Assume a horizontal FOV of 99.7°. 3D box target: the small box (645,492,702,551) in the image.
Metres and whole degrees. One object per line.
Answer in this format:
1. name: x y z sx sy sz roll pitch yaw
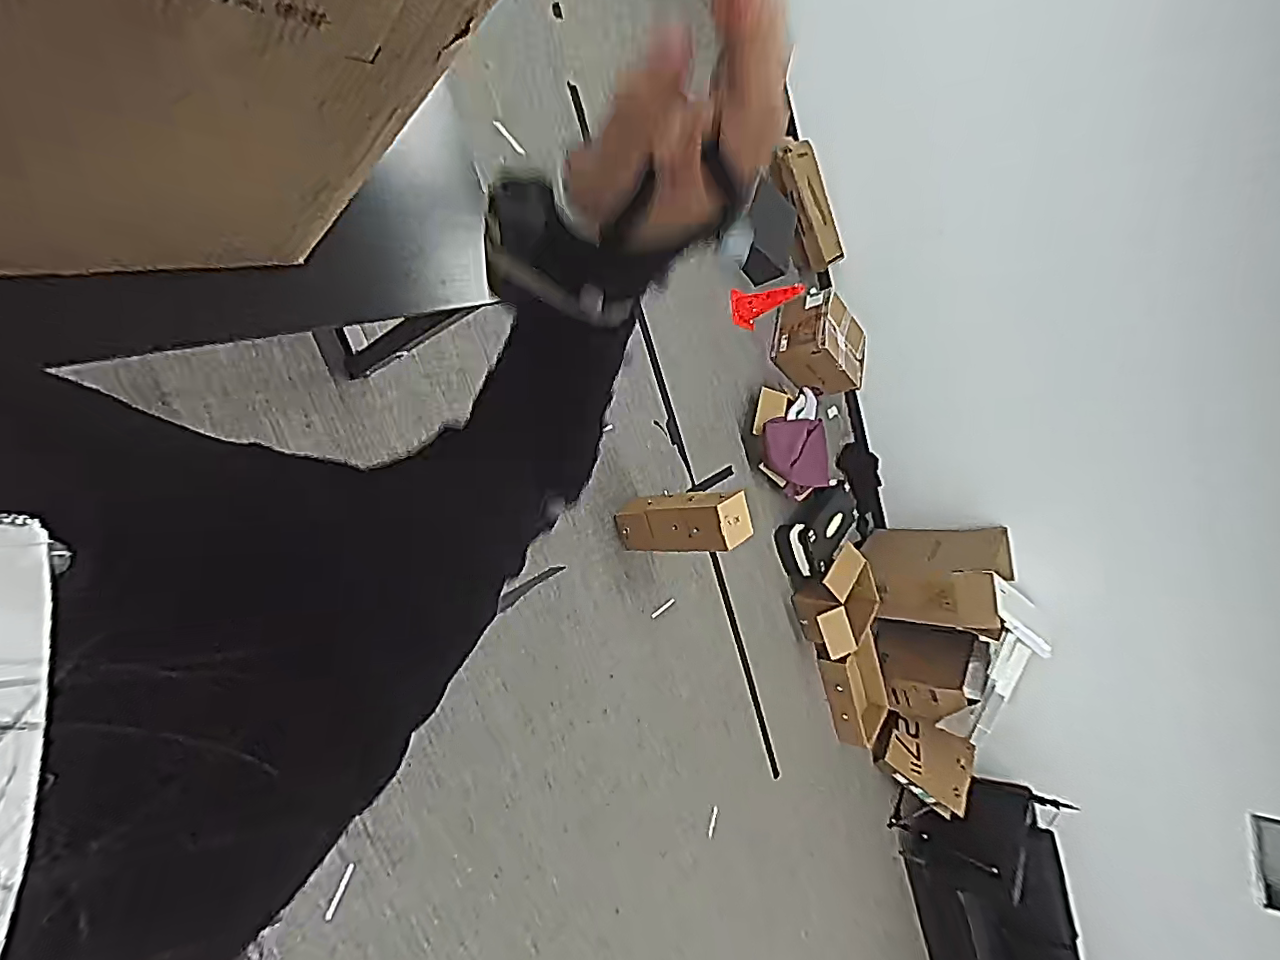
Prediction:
1. small box: 0.142 0.158 2.032 0.168 0.176 0.179 -29 106 -44

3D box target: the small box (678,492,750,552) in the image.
1. small box: 0.263 0.147 1.921 0.179 0.176 0.168 -24 102 -44

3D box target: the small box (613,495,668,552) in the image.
1. small box: 0.023 0.172 2.145 0.179 0.176 0.168 -34 109 -42
